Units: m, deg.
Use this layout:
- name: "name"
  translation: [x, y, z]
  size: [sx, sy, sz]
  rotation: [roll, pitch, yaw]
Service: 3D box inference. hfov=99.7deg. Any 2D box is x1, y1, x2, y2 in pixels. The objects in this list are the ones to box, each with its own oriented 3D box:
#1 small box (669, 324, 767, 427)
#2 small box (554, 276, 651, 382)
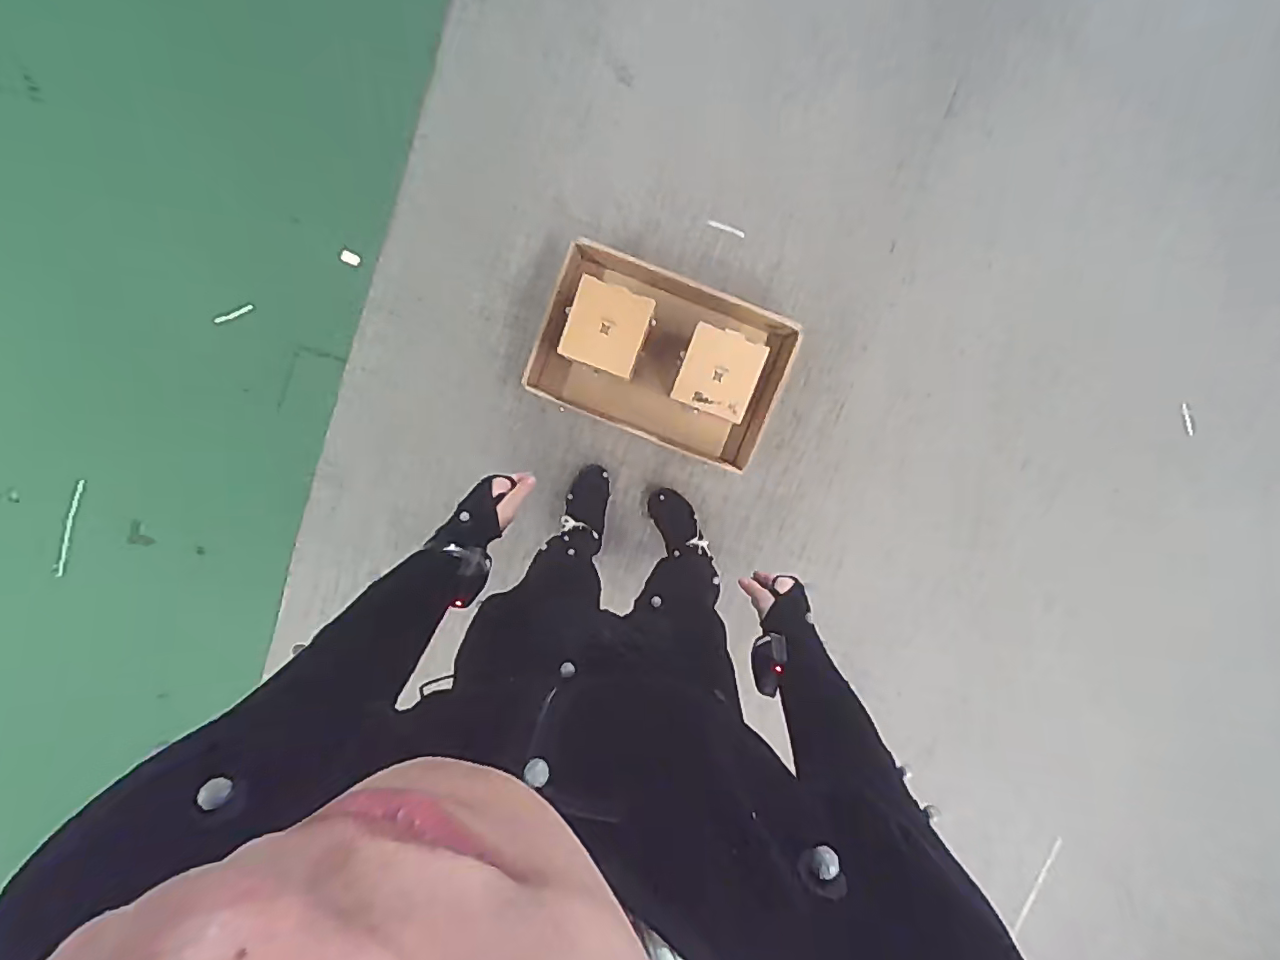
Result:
- name: "small box"
  translation: [0.167, -0.231, 1.233]
  size: [0.168, 0.176, 0.179]
  rotation: [21, 96, 0]
- name: "small box"
  translation: [-0.079, -0.329, 1.222]
  size: [0.168, 0.176, 0.179]
  rotation: [20, 96, -3]
